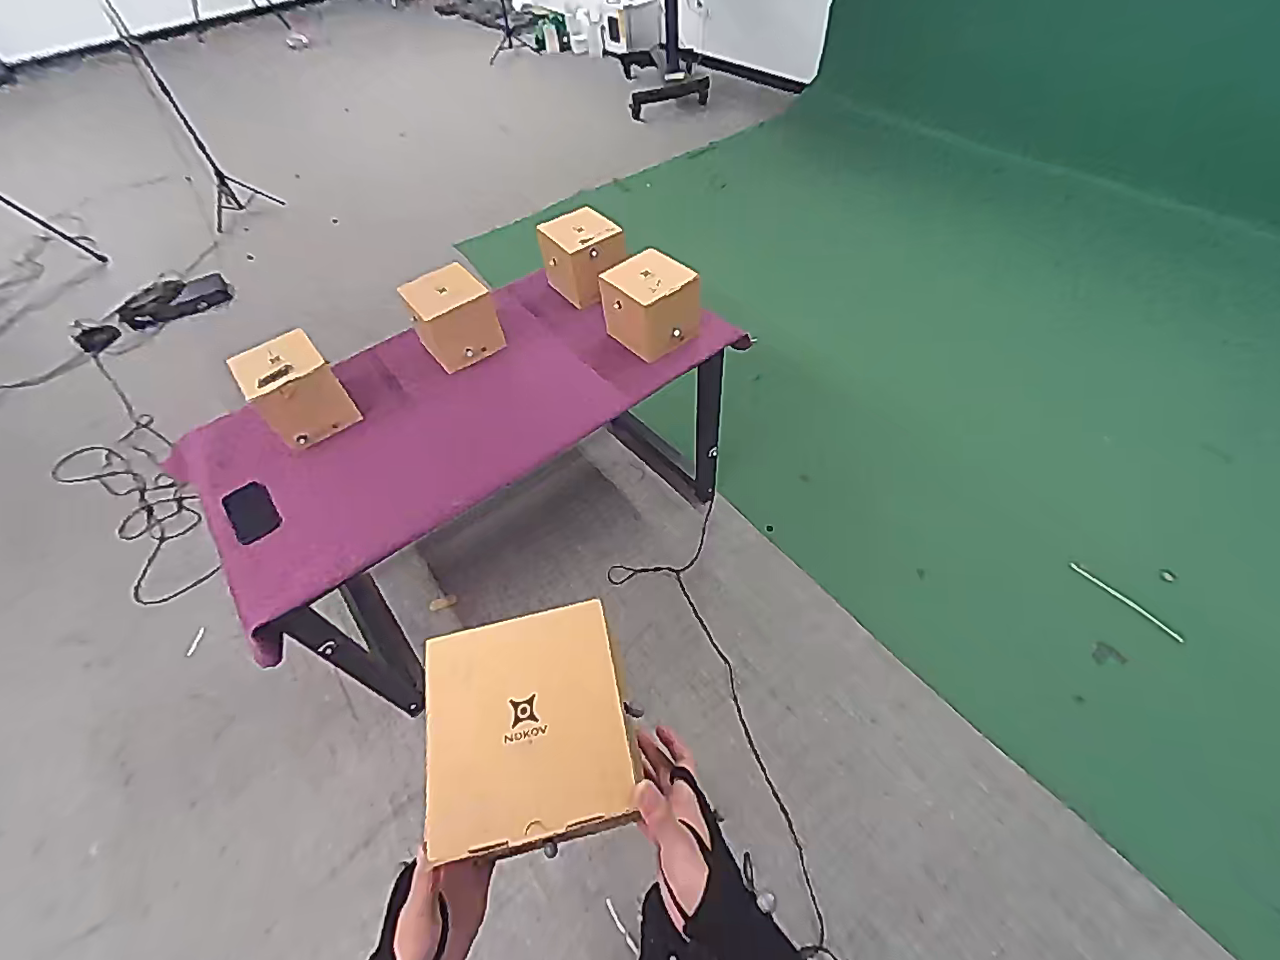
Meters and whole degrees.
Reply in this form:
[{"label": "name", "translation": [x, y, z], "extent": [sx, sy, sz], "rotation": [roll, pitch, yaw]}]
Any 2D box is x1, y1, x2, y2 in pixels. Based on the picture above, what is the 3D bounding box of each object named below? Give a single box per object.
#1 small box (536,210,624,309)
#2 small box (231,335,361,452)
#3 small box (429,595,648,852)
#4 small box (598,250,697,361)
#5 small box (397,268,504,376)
[{"label": "small box", "translation": [-0.157, -0.596, 1.469], "extent": [0.168, 0.176, 0.179], "rotation": [-33, 56, -18]}, {"label": "small box", "translation": [-0.765, -0.187, 1.216], "extent": [0.168, 0.176, 0.179], "rotation": [-35, 57, -19]}, {"label": "small box", "translation": [-0.091, 0.237, 0.523], "extent": [0.168, 0.176, 0.179], "rotation": [-13, 58, -4]}, {"label": "small box", "translation": [0.022, -0.419, 1.310], "extent": [0.168, 0.176, 0.179], "rotation": [-36, 57, -18]}, {"label": "small box", "translation": [-0.465, -0.390, 1.345], "extent": [0.168, 0.176, 0.179], "rotation": [-34, 58, -18]}]
